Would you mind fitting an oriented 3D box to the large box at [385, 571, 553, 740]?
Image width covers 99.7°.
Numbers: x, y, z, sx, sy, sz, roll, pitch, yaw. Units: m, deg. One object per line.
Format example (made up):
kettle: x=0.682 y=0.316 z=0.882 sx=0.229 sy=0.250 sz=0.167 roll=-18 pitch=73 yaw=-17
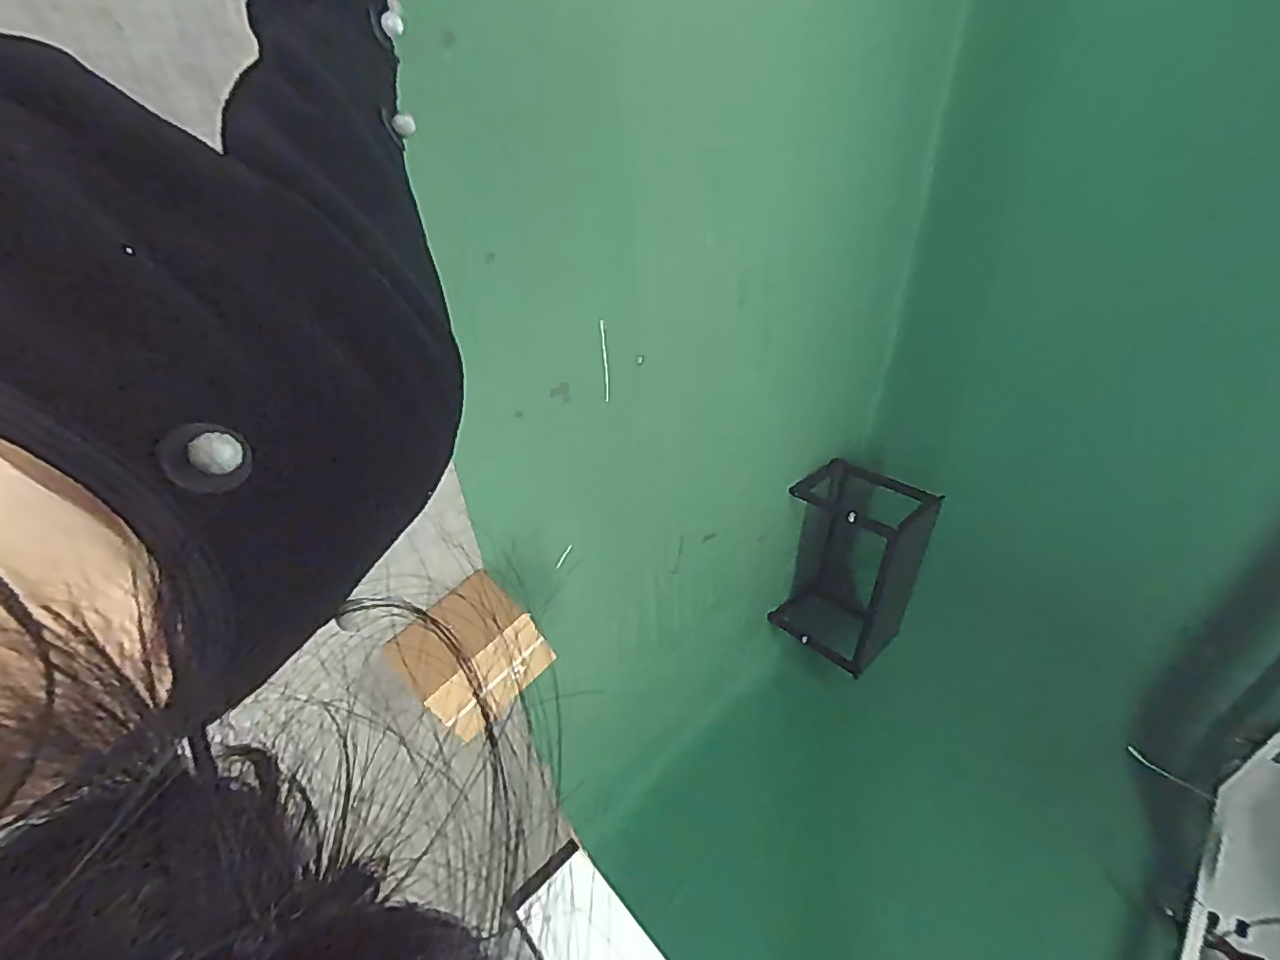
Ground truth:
large box: x=-0.591 y=0.605 z=1.900 sx=0.408 sy=0.320 sz=0.320 roll=-41 pitch=138 yaw=-24
